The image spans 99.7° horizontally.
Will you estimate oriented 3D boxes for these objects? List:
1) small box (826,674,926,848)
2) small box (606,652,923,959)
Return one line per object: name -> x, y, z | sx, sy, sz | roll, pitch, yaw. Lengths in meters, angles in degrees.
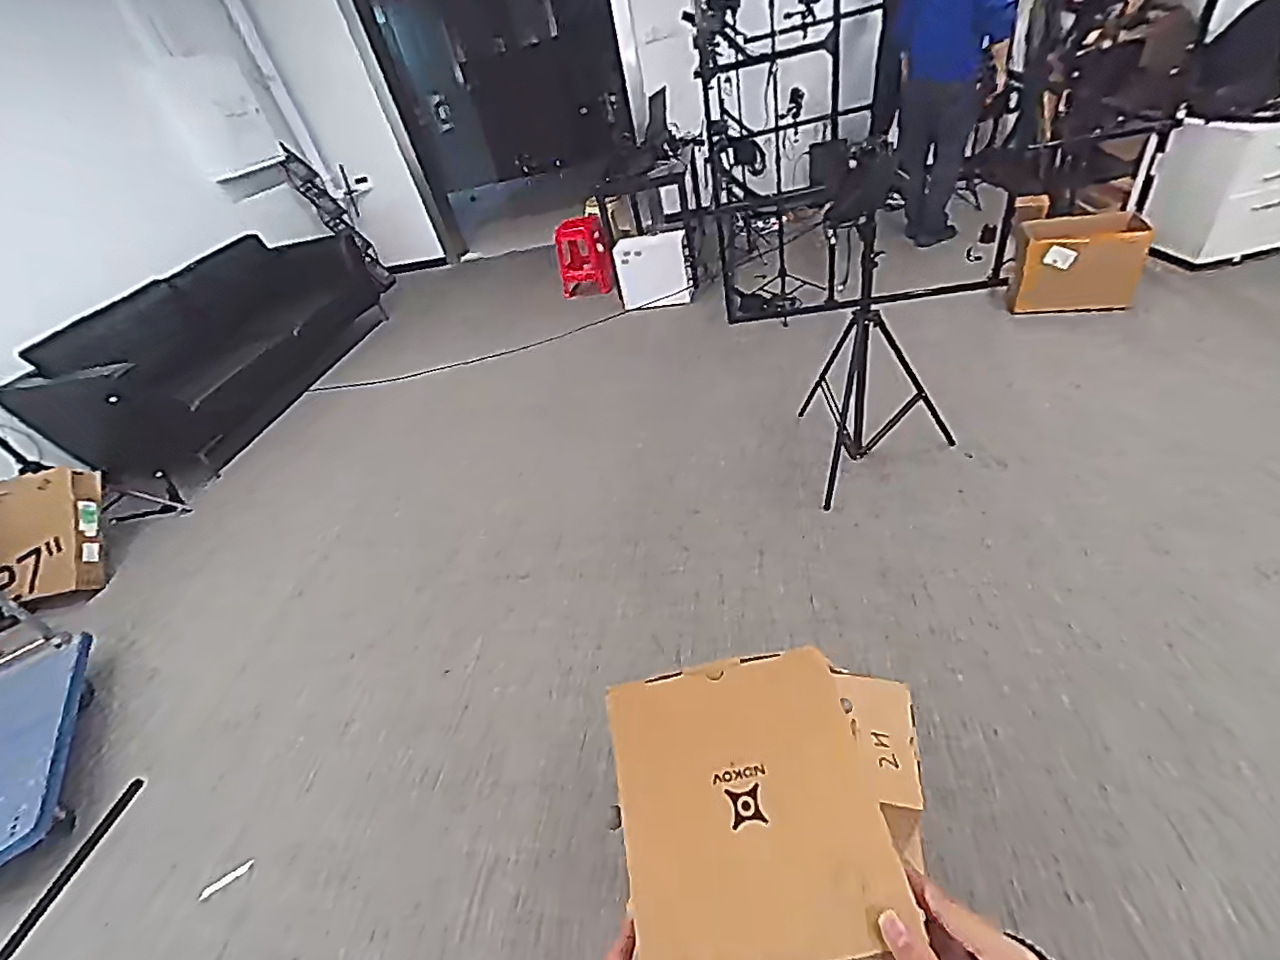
small box -> 0.295, 0.400, 0.776 | 0.179, 0.176, 0.168 | 1, 43, 17
small box -> 0.078, 0.259, 0.415 | 0.168, 0.176, 0.179 | -13, 52, -1
